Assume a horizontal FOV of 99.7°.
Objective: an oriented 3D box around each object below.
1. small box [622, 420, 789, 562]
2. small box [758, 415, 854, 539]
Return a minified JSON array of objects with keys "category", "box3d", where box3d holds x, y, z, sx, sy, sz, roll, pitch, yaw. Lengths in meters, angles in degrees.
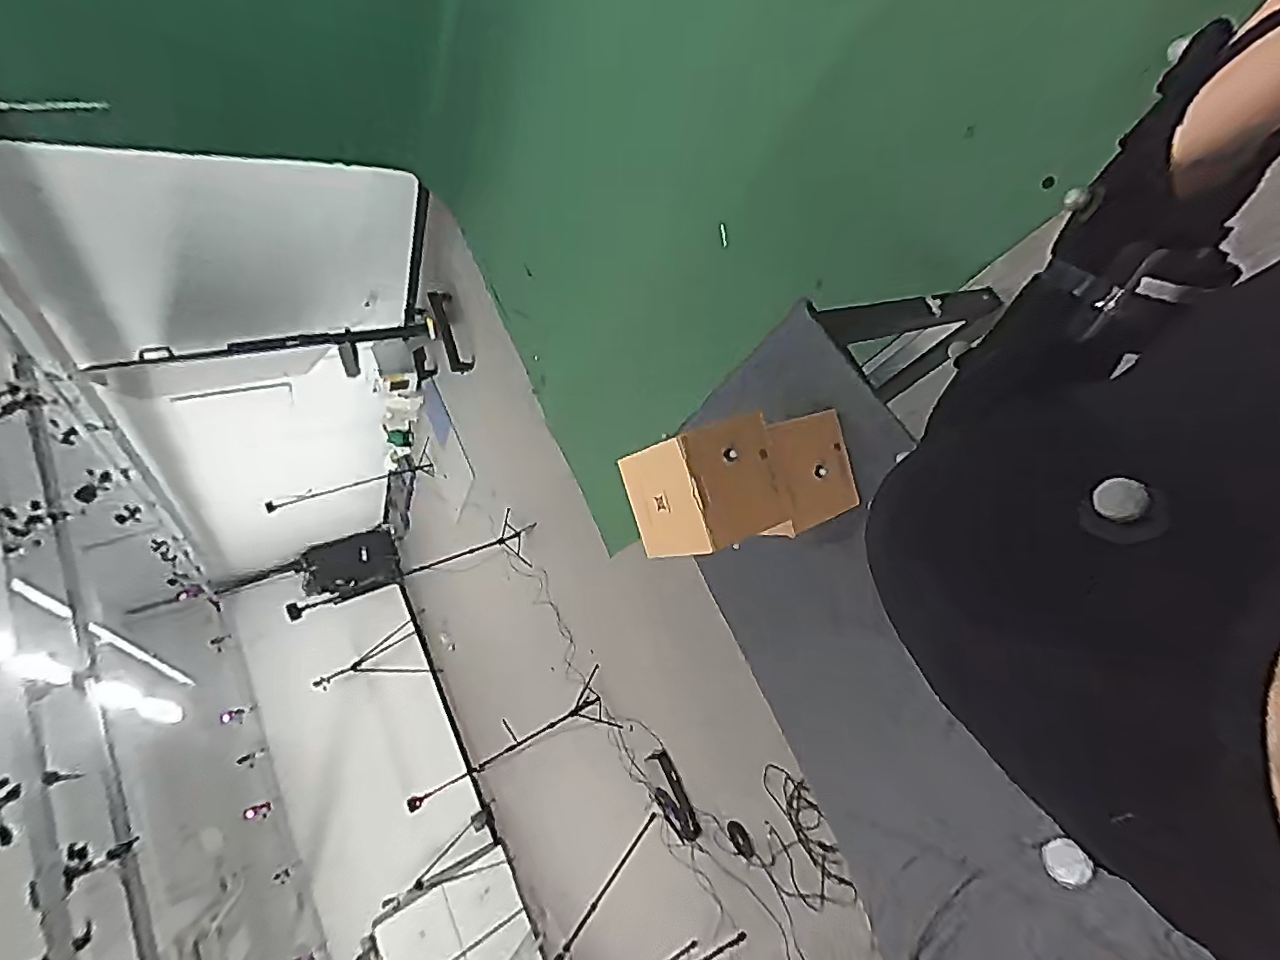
[{"category":"small box","box3d":[0.104,0.017,0.824,0.179,0.176,0.168,-20,87,59]},{"category":"small box","box3d":[0.237,-0.004,0.916,0.179,0.176,0.168,-10,96,58]}]
